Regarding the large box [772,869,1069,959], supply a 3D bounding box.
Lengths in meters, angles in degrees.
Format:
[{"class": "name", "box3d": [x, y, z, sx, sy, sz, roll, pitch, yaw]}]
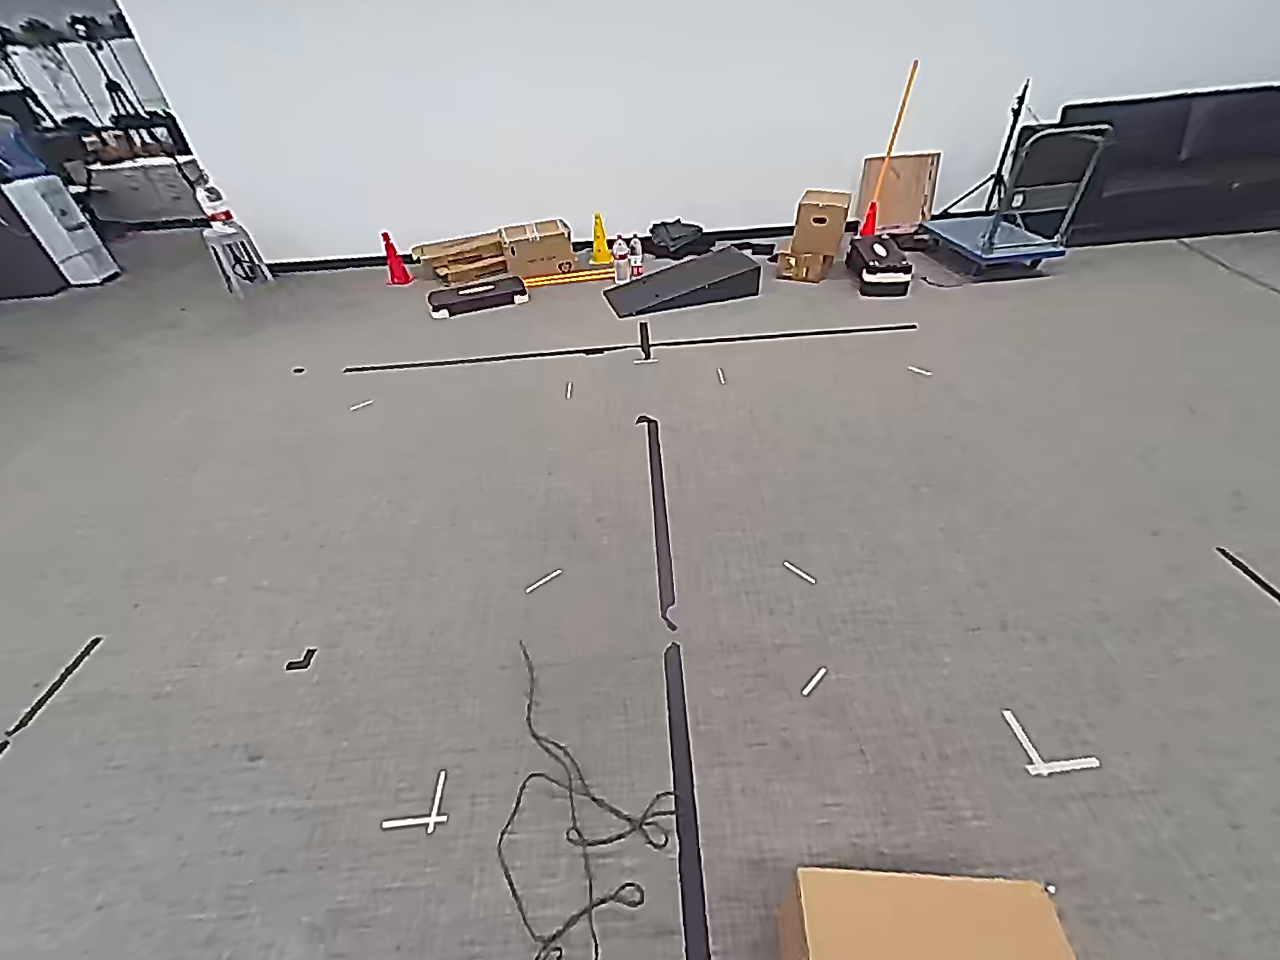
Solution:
[{"class": "large box", "box3d": [0.455, 0.881, 0.887, 0.408, 0.320, 0.320, 1, 39, 4]}]
